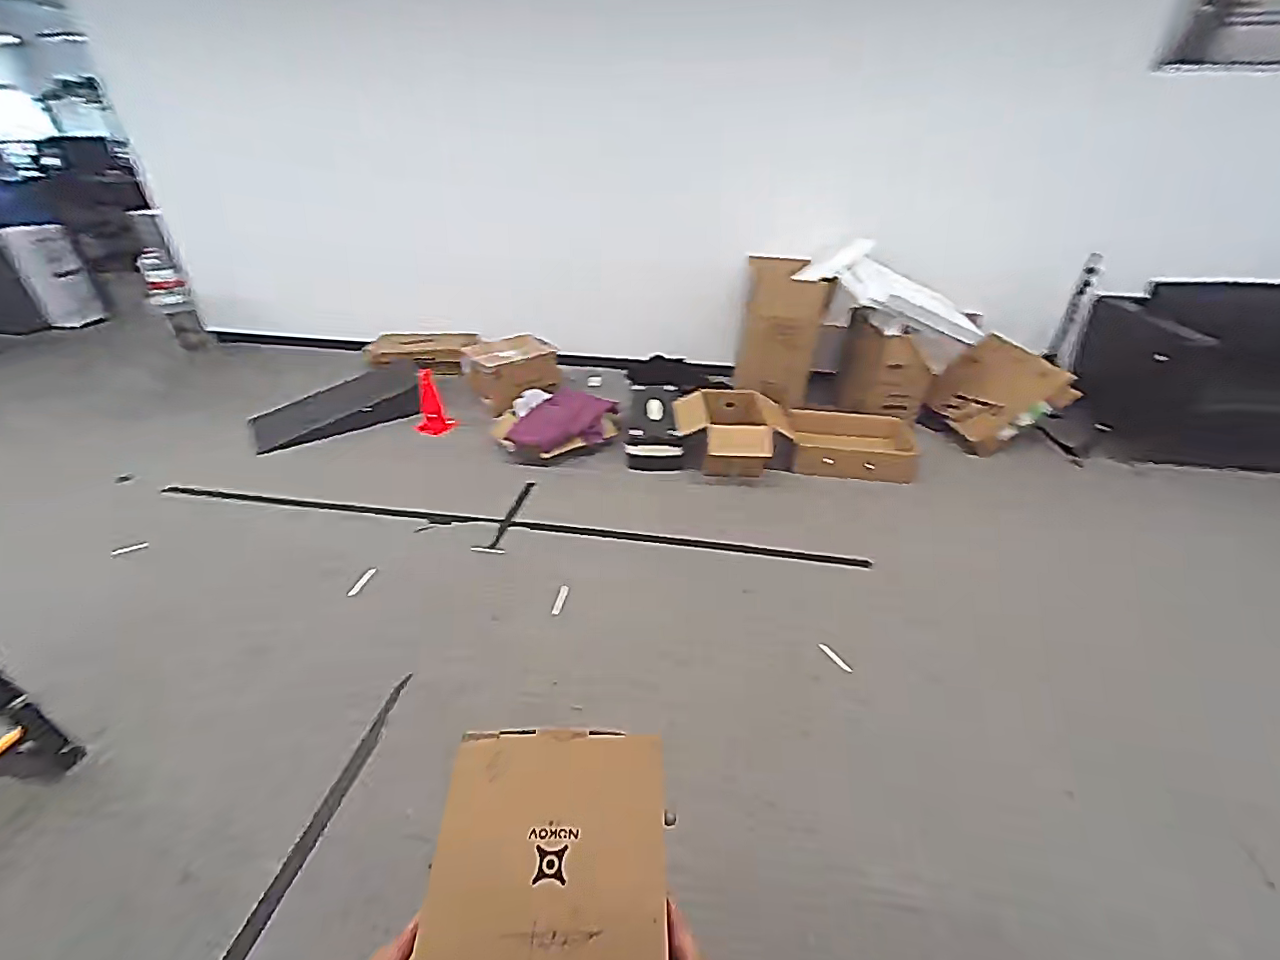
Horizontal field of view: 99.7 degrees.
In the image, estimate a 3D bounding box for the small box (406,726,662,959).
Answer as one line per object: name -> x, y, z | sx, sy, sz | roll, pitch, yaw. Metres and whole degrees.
small box -> -0.071, 0.323, 0.443 | 0.168, 0.176, 0.179 | 0, 44, -2
